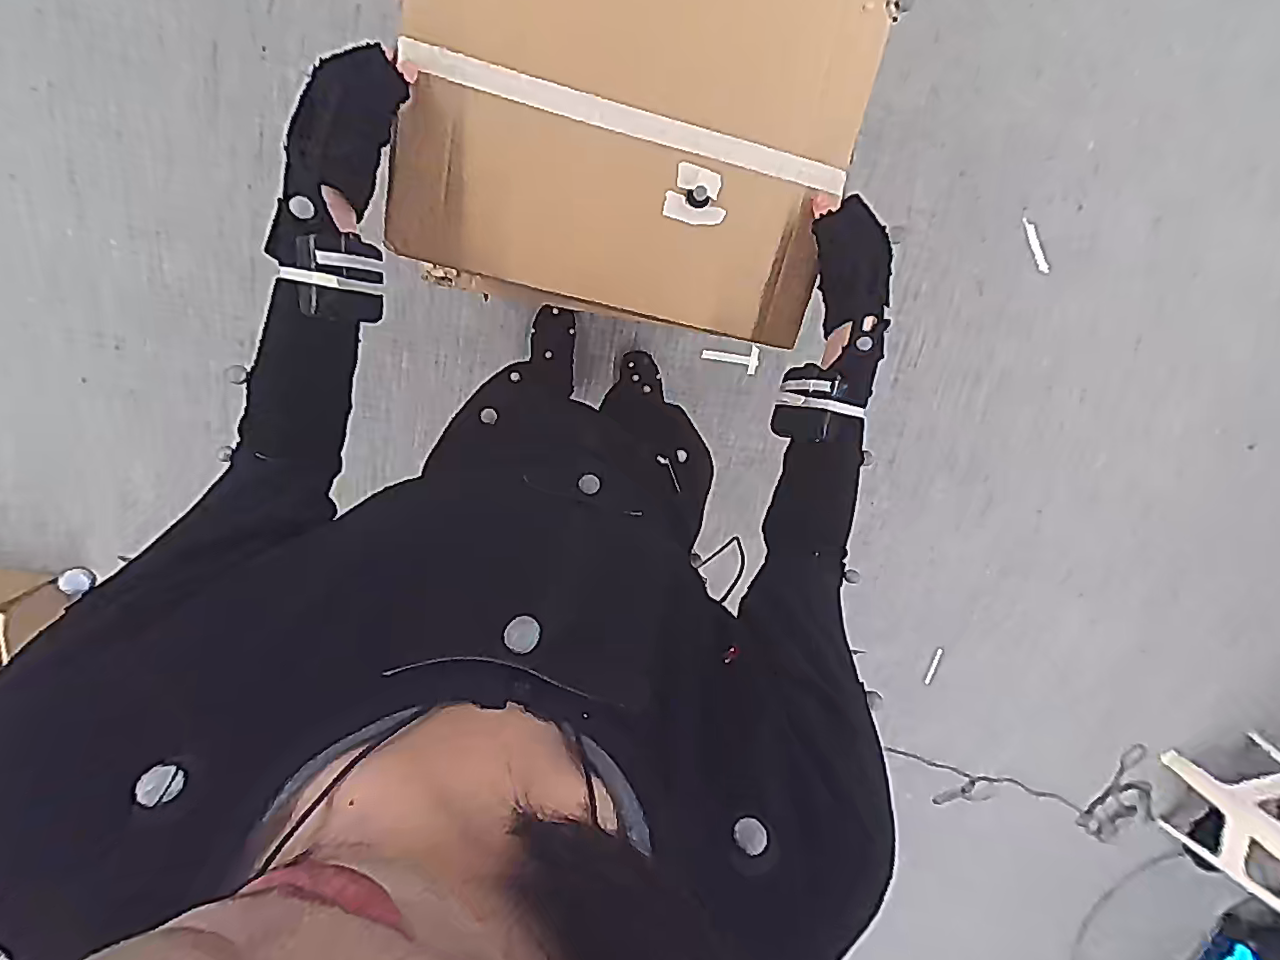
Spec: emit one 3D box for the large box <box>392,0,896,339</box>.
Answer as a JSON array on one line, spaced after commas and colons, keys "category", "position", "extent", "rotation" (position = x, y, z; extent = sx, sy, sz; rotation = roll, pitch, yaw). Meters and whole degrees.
[{"category": "large box", "position": [-0.018, -0.362, 0.612], "extent": [0.408, 0.320, 0.320], "rotation": [10, 107, -10]}]
